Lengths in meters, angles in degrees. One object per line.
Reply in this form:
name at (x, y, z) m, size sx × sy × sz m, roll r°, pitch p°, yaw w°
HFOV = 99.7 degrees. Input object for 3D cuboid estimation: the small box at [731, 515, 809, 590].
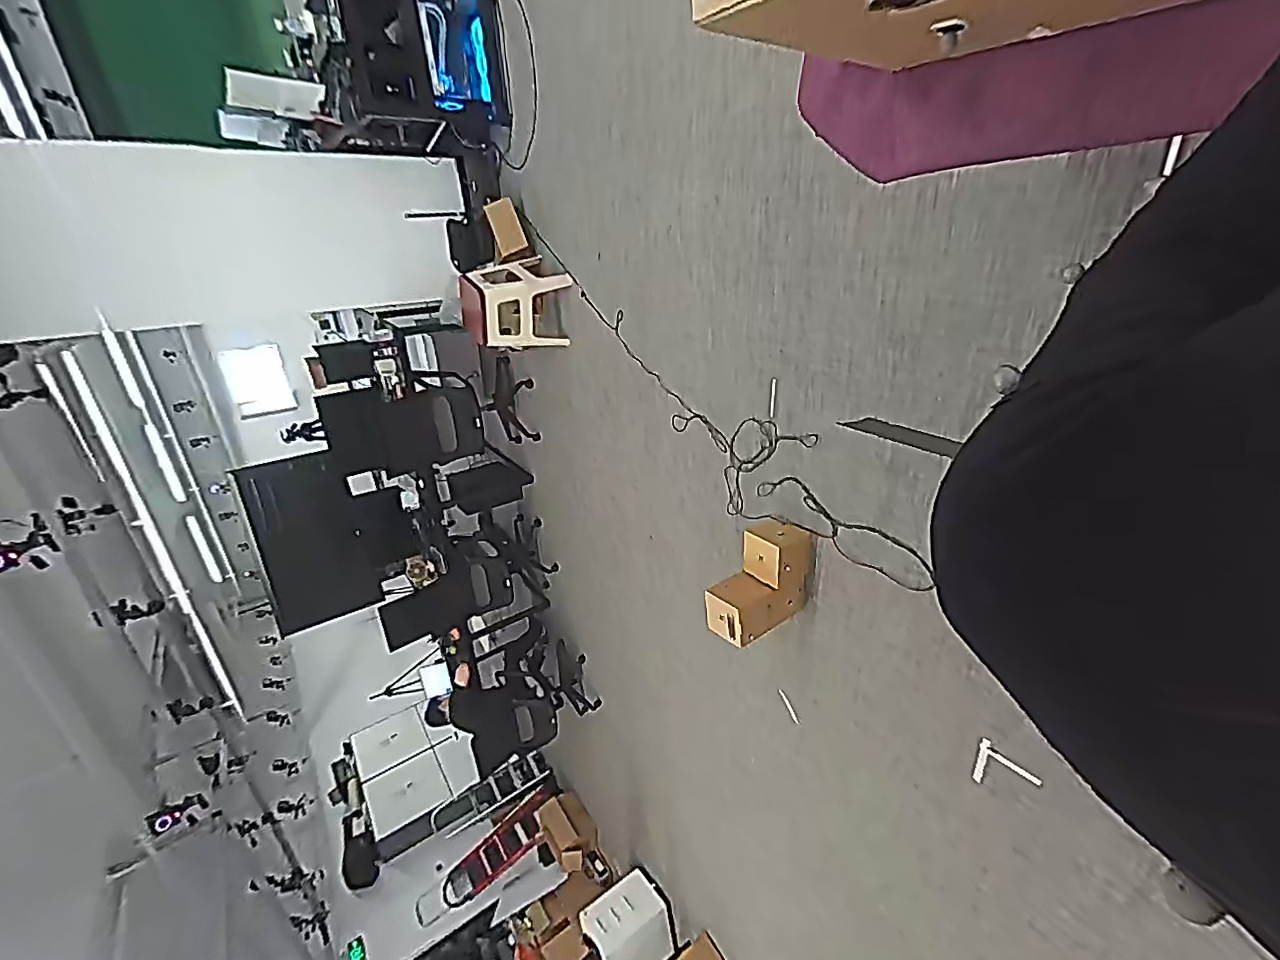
small box at (0.454, 0.256, 1.906) m, size 0.179 × 0.176 × 0.168 m, roll 44°, pitch 127°, yaw 23°
